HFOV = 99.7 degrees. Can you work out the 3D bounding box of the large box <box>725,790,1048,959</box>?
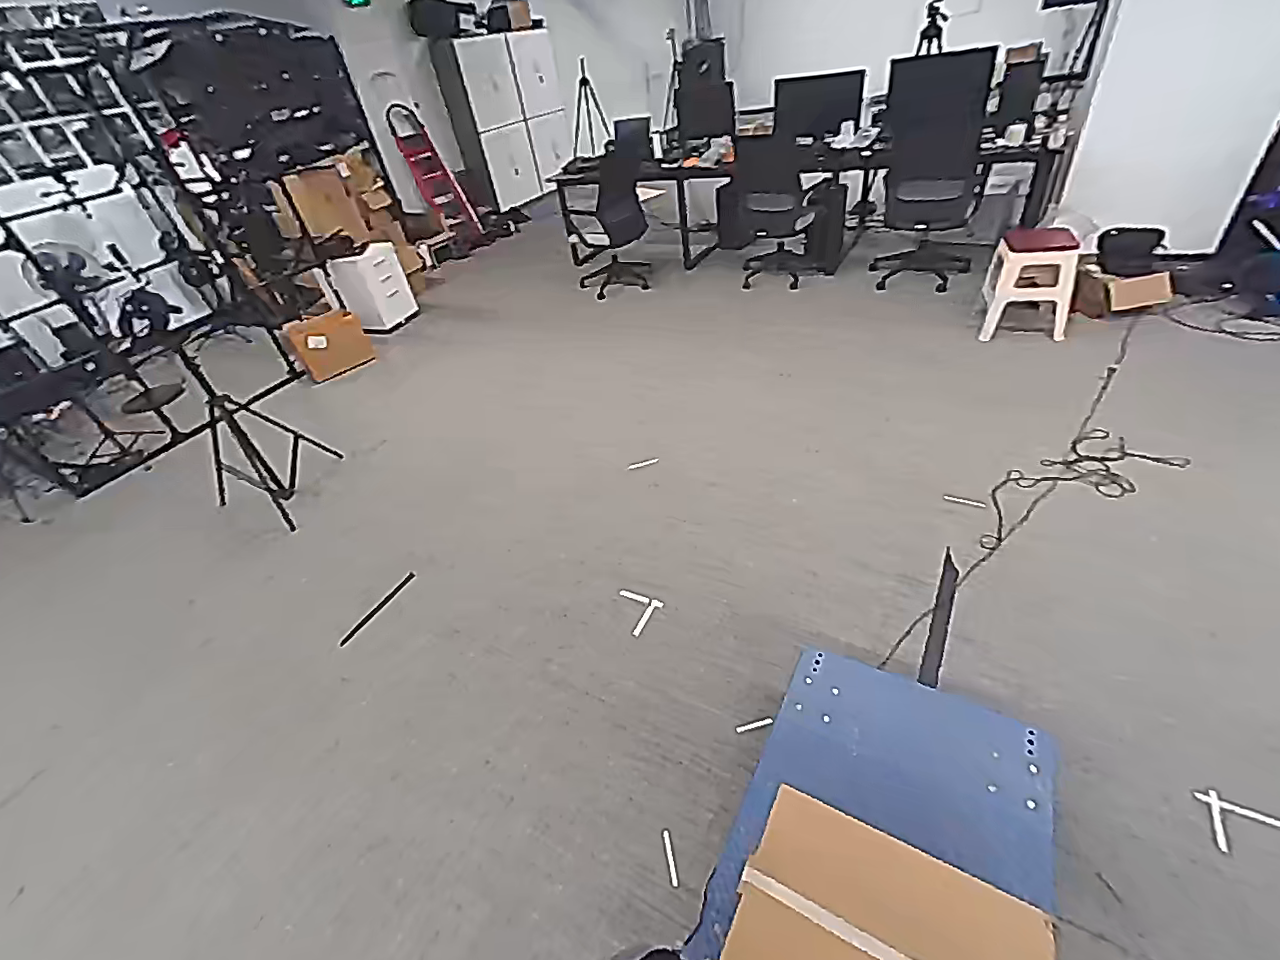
[{"bbox_3d":[0.371,0.798,0.874,0.408,0.320,0.320,14,45,27],"label":"large box"}]
